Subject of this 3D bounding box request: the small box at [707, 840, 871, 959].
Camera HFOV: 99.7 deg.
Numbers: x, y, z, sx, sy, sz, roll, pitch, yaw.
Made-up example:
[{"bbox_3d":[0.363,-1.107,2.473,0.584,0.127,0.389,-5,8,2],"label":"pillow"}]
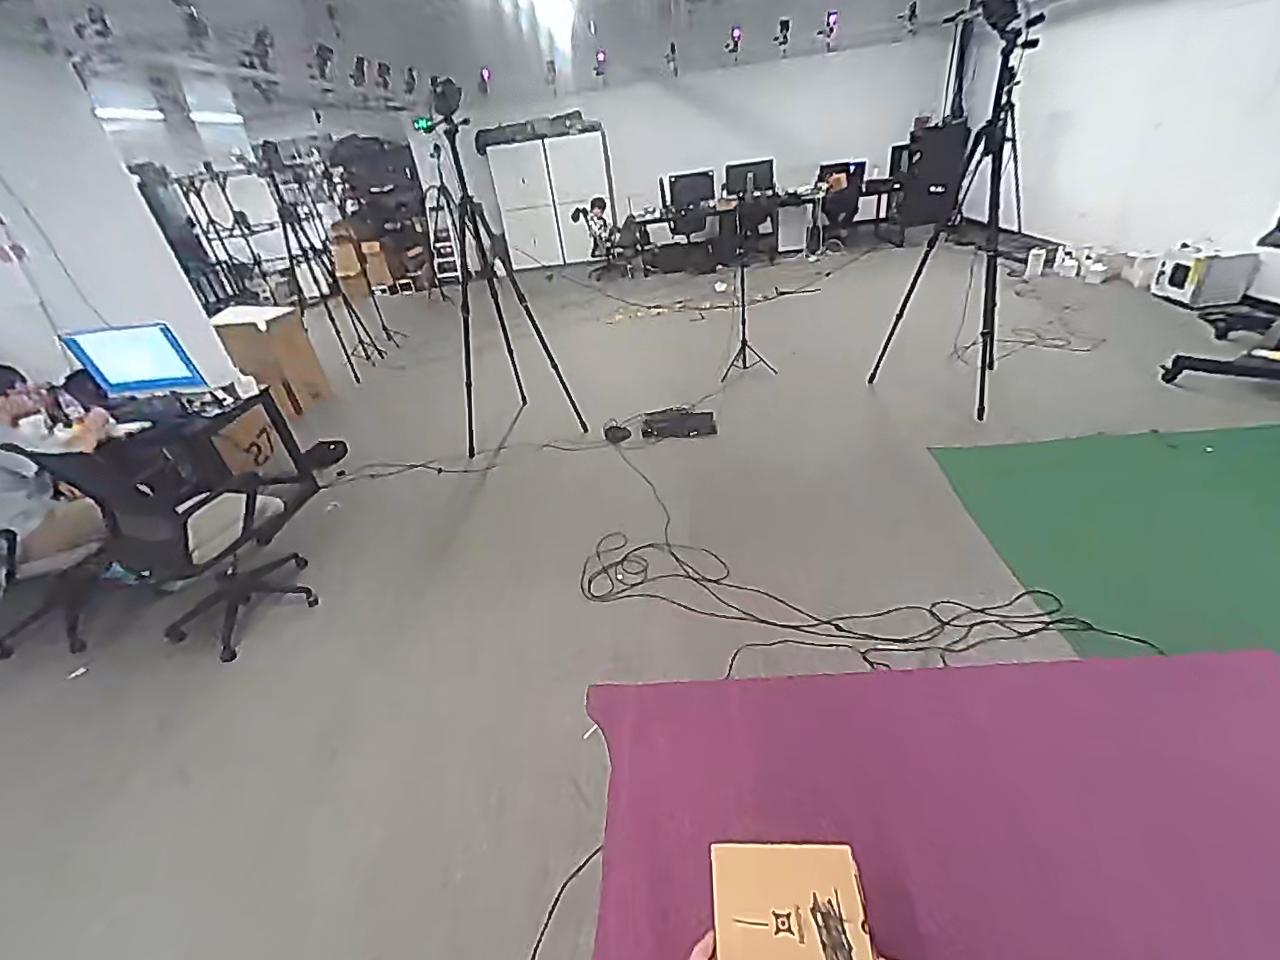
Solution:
[{"bbox_3d":[0.176,0.571,0.664,0.179,0.176,0.168,-5,34,8],"label":"small box"}]
